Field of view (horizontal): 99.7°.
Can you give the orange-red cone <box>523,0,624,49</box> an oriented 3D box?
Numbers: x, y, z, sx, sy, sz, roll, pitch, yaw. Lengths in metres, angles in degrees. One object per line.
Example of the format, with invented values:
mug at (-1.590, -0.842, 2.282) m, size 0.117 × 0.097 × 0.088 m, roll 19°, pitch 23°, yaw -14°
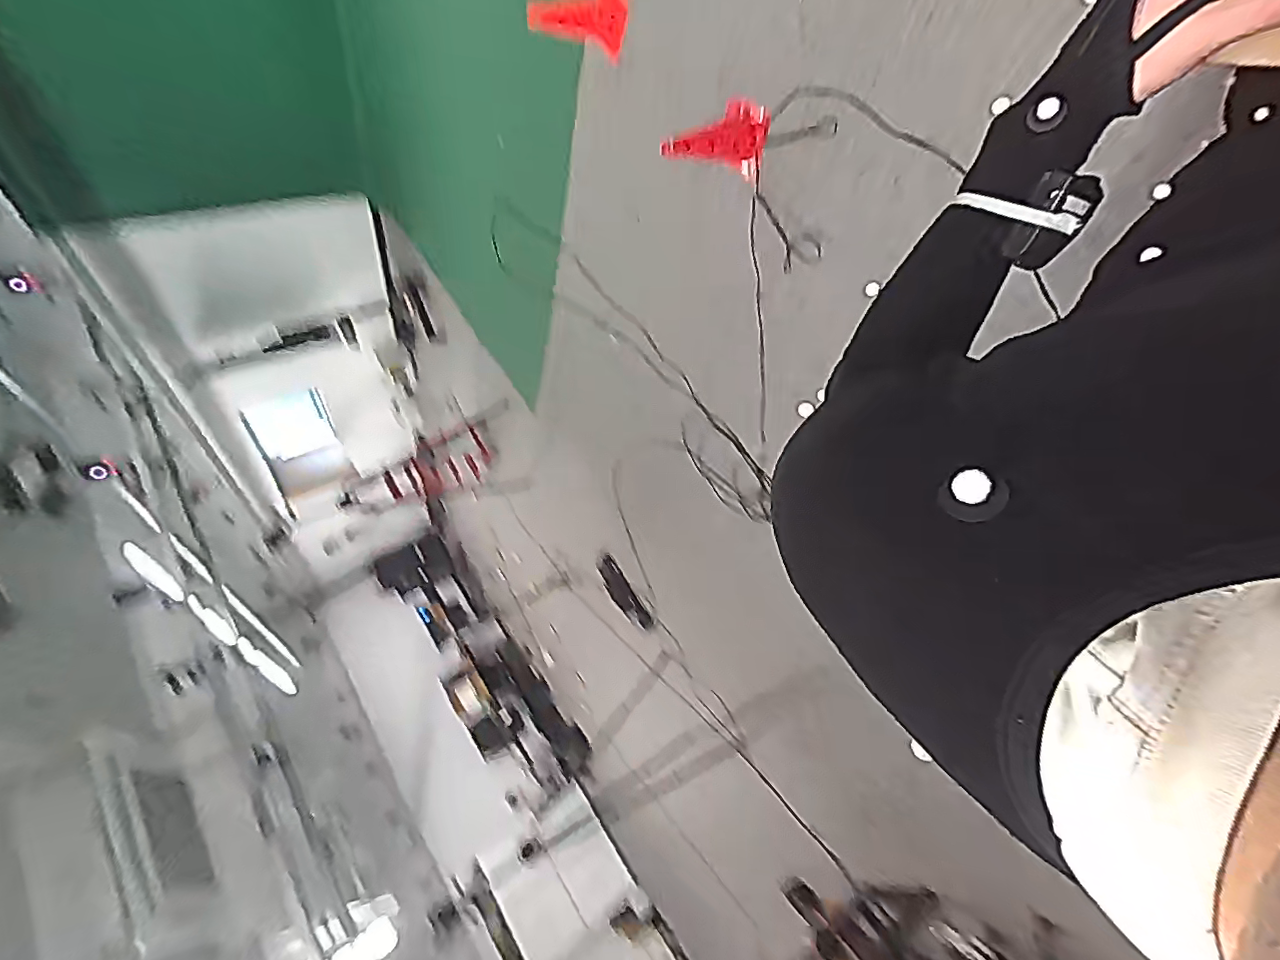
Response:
orange-red cone at (-0.268, -1.757, 2.011) m, size 0.198 × 0.360 × 0.199 m, roll 57°, pitch 152°, yaw 13°
